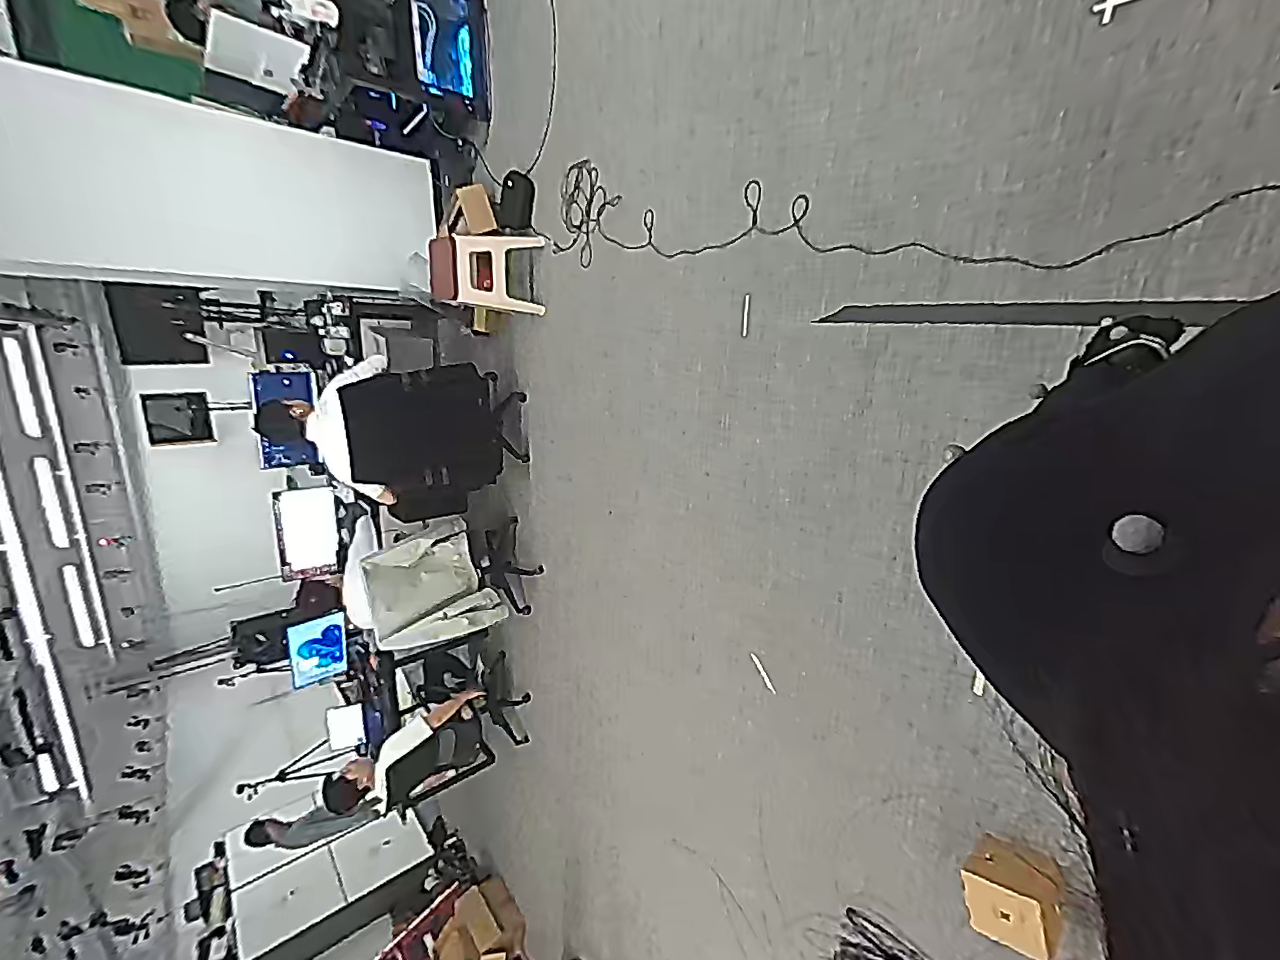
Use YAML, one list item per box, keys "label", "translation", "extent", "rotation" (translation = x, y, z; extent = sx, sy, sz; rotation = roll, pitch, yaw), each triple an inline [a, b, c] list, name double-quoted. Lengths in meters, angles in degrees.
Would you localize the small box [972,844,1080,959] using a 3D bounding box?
- label: "small box"
  translation: [0.988, 1.080, 1.385]
  extent: [0.179, 0.176, 0.168]
  rotation: [-11, 91, 51]
